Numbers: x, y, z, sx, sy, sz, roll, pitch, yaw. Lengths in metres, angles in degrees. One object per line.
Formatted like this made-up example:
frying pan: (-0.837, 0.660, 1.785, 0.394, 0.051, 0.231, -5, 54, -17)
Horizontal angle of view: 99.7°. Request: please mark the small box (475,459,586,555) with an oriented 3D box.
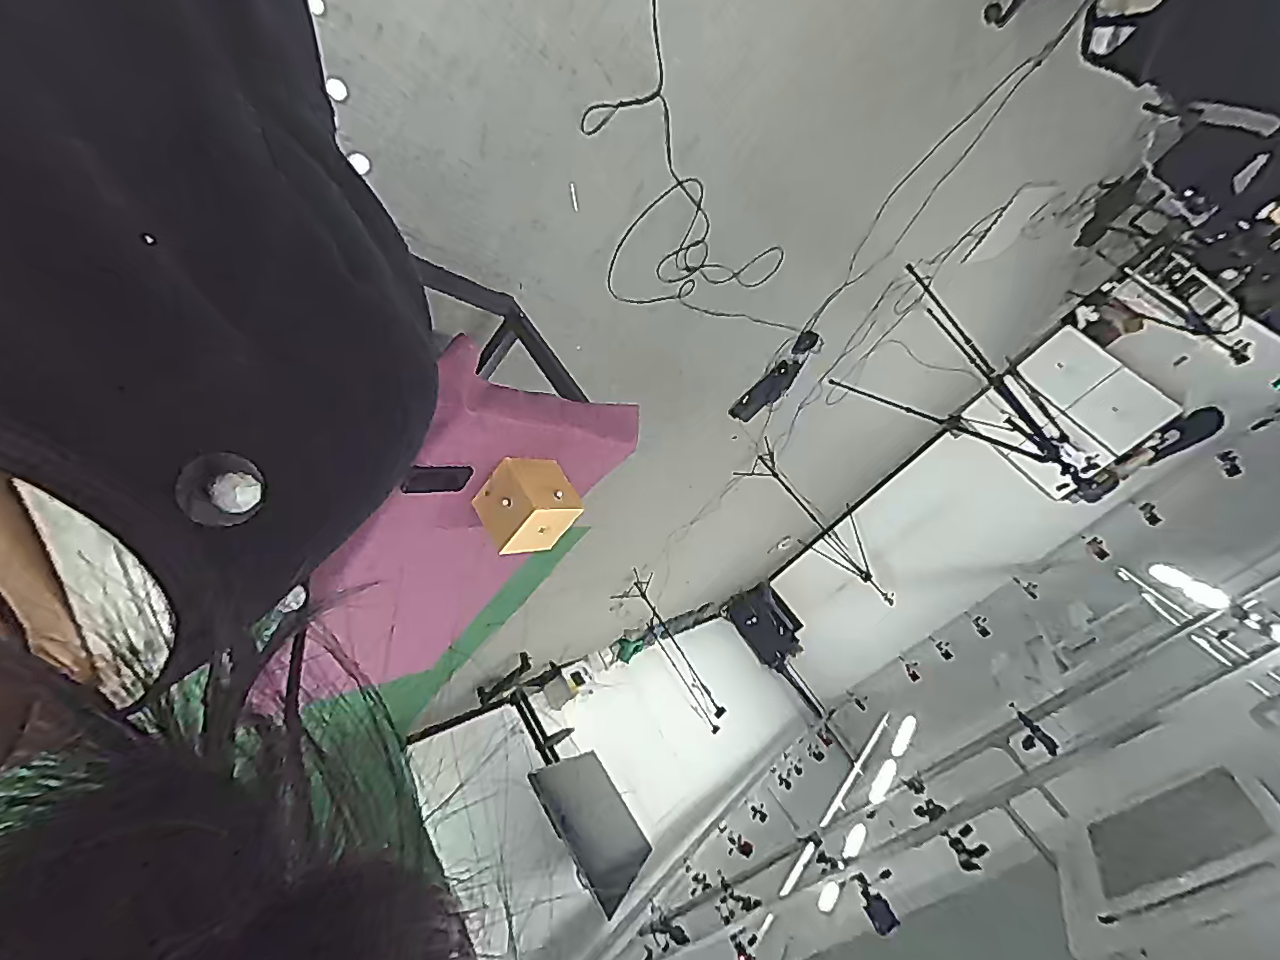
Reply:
small box: (-0.274, 0.063, 1.336, 0.168, 0.176, 0.179, -48, 155, 24)
